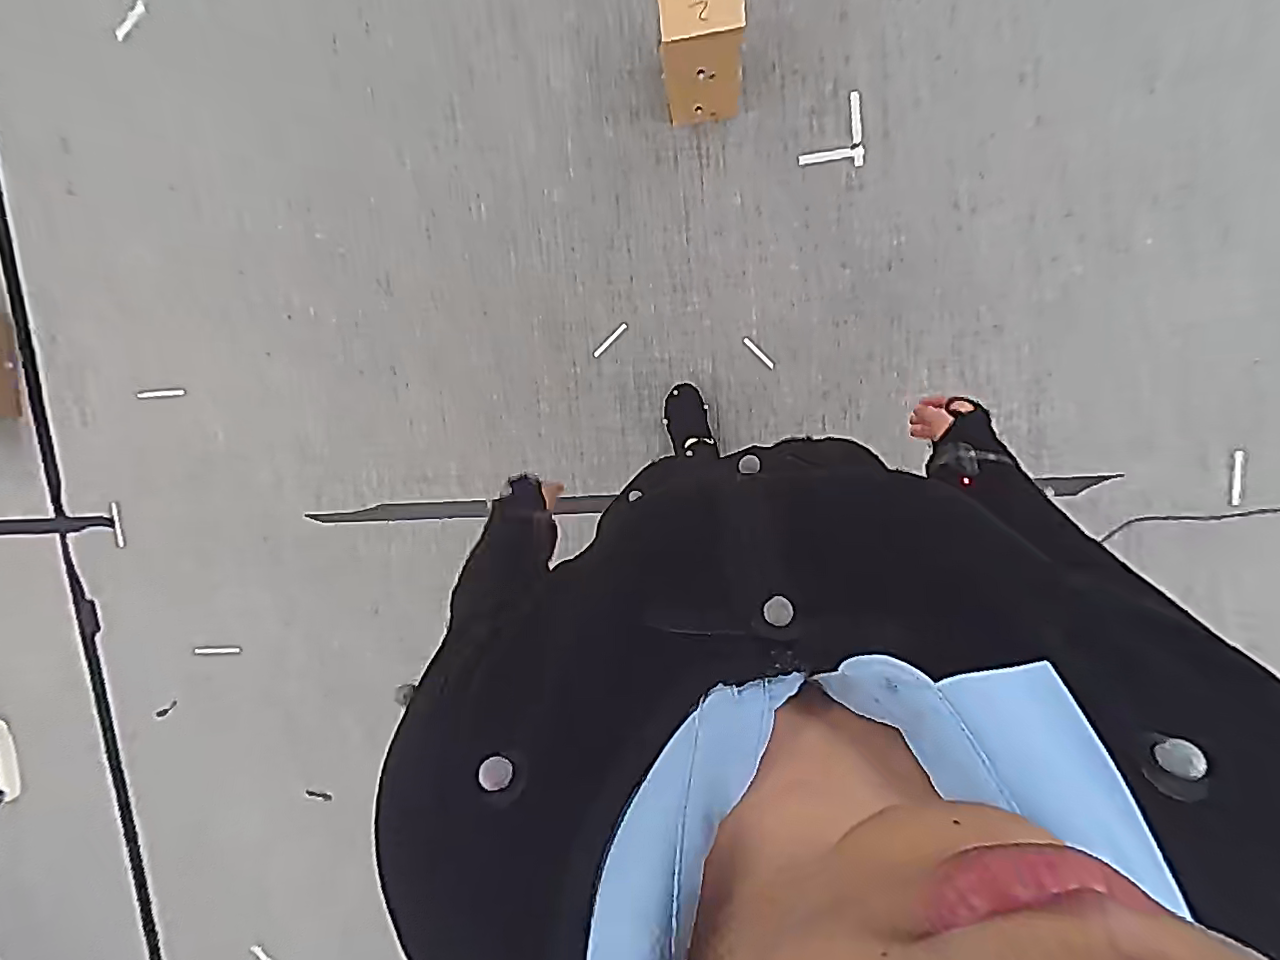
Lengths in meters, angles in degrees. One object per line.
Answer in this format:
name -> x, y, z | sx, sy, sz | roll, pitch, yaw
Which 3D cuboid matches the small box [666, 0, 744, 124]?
small box -> 0.152, -0.989, 1.280 | 0.168, 0.176, 0.179 | -5, 97, 6
